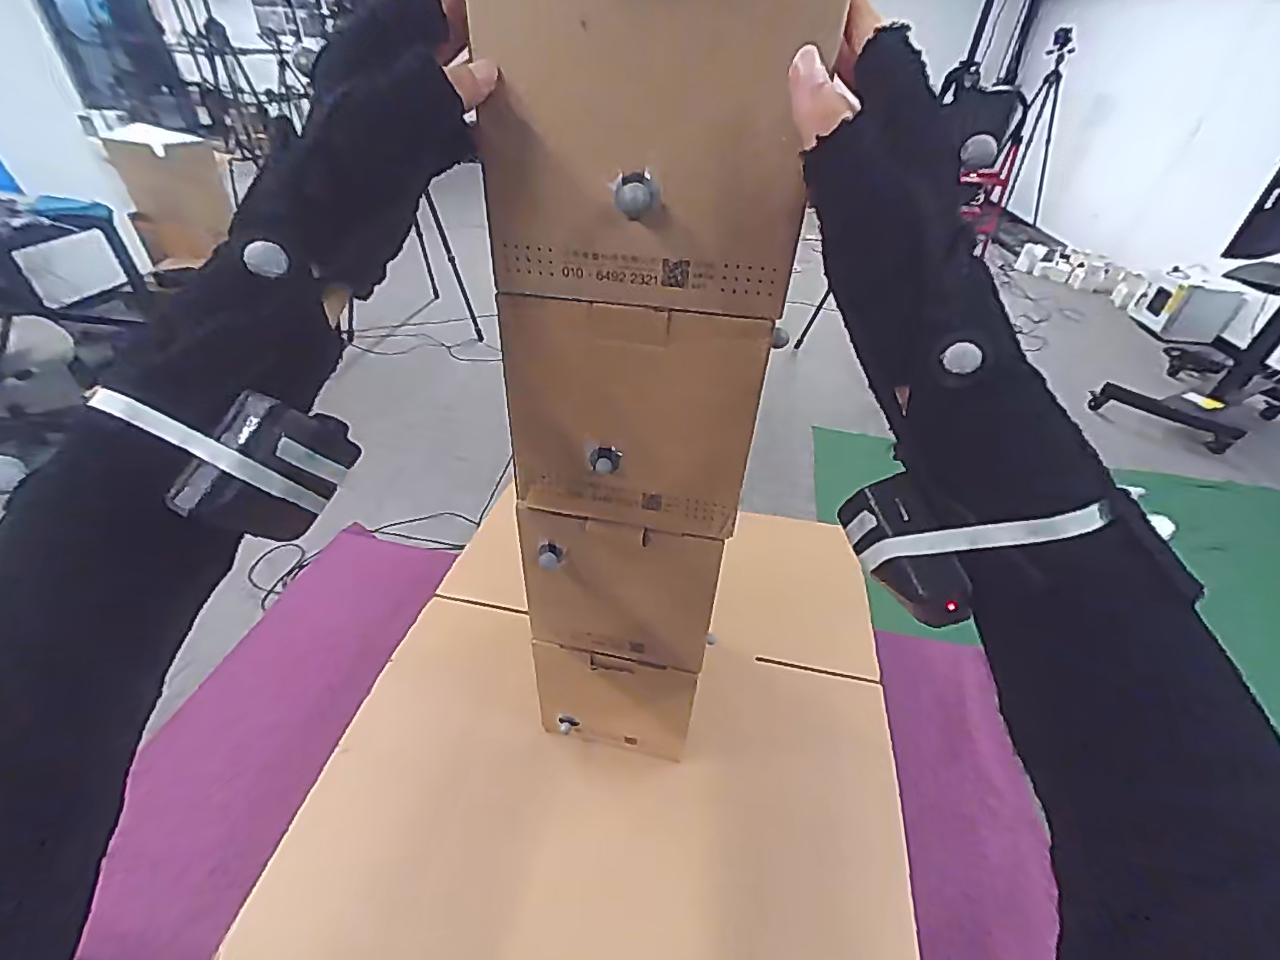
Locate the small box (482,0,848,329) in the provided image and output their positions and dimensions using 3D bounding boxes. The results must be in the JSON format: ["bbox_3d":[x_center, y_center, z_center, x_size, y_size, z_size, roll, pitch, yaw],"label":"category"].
[{"bbox_3d":[0.015,-0.209,0.329,0.168,0.176,0.179,7,37,6],"label":"small box"}]

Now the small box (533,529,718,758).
[{"bbox_3d":[-0.009,0.185,0.622,0.168,0.176,0.179,9,37,9],"label":"small box"}]

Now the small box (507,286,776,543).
[{"bbox_3d":[0.008,-0.078,0.428,0.168,0.176,0.179,9,37,7],"label":"small box"}]
